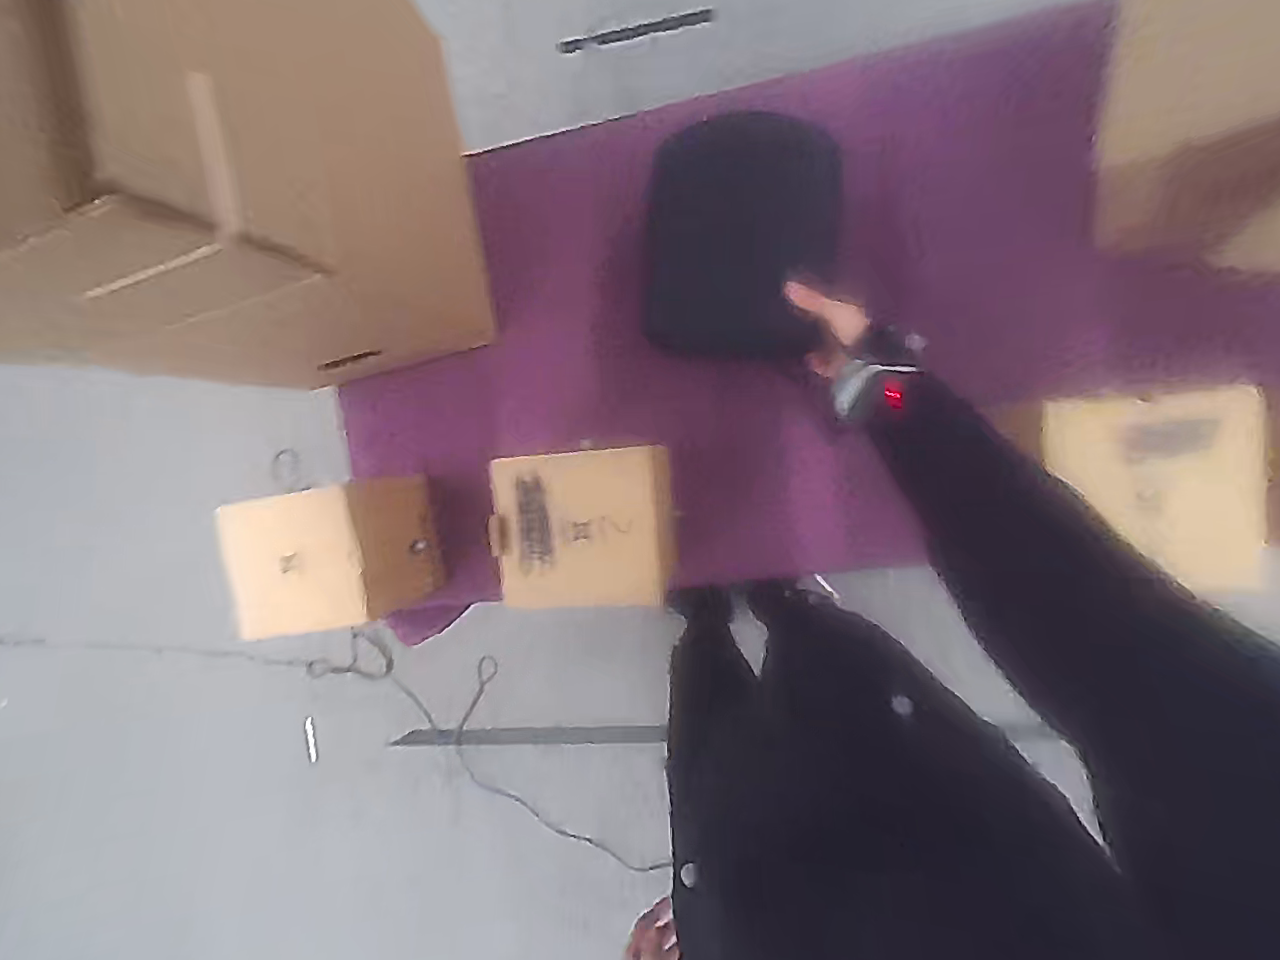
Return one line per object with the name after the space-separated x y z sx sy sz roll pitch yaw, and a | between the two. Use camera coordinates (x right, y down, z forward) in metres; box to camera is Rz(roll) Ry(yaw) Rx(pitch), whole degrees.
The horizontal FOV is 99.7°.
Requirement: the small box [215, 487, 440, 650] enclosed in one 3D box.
-0.394 0.106 0.707 0.179 0.176 0.168 -11 91 9 | small box

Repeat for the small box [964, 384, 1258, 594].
0.451 0.006 0.548 0.168 0.176 0.179 -5 93 11 | small box
